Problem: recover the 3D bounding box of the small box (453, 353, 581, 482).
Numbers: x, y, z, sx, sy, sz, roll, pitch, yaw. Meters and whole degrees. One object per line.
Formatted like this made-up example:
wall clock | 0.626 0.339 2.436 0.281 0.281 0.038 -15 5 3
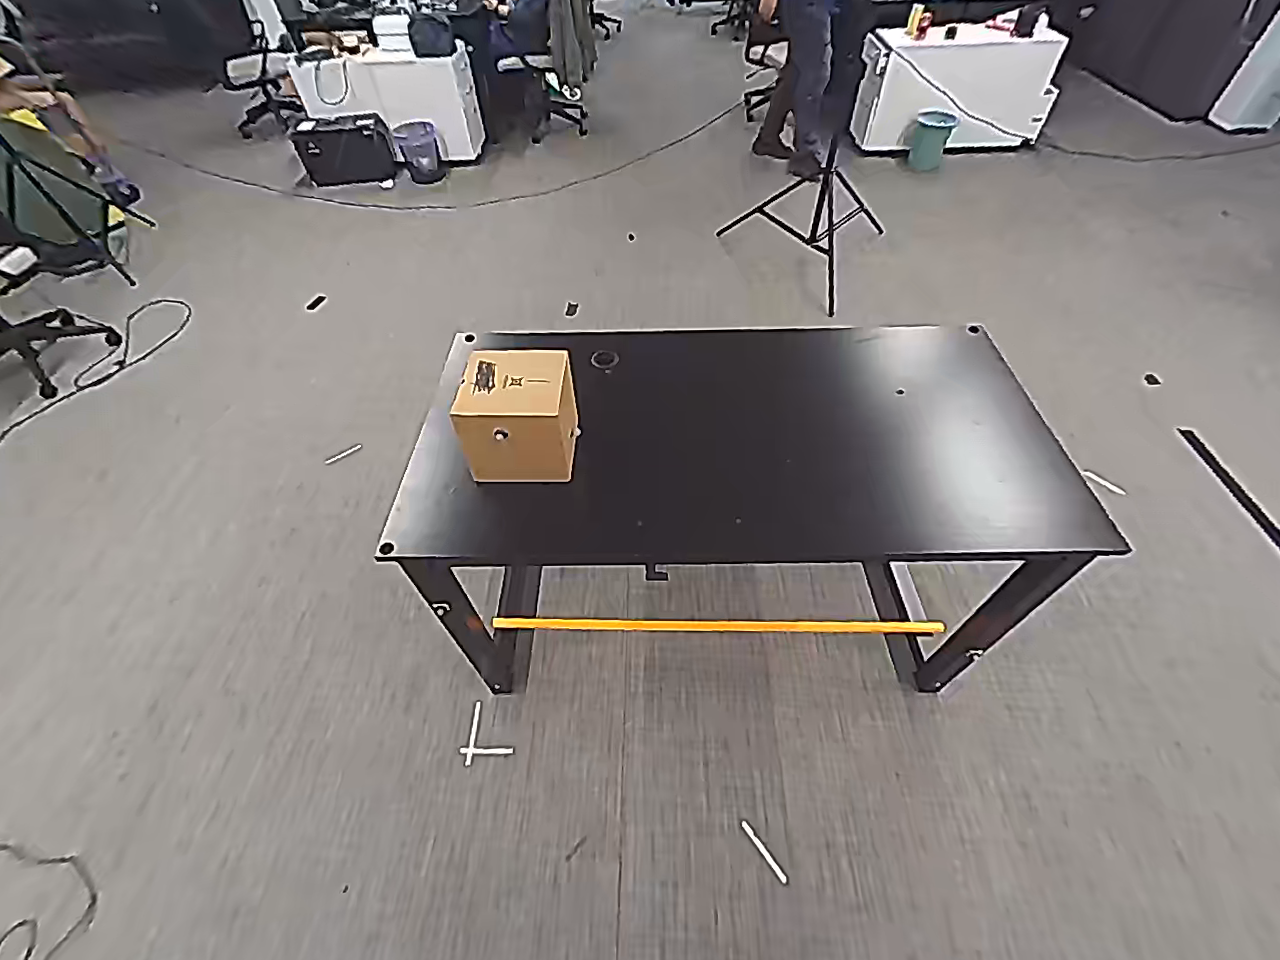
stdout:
small box | -0.208 -0.109 0.968 0.179 0.176 0.168 1 51 1
